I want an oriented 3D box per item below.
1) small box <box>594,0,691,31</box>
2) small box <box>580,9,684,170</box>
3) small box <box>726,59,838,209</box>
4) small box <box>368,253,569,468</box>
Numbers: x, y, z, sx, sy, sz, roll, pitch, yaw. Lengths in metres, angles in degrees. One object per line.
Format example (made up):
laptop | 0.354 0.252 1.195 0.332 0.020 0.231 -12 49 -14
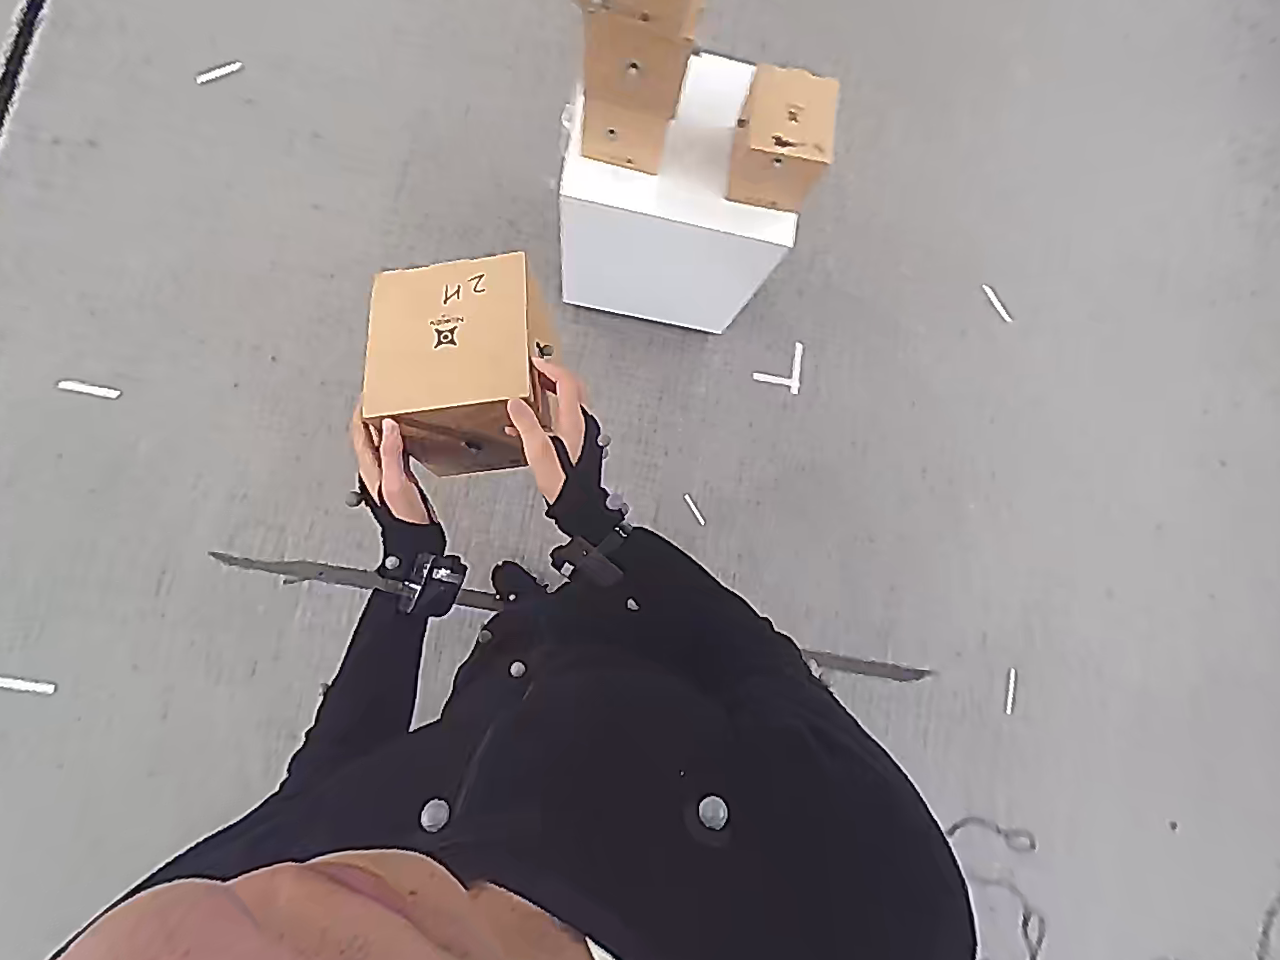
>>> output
small box | 0.012 -0.772 0.732 0.168 0.176 0.179 13 83 -6
small box | -0.022 -0.750 1.059 0.168 0.176 0.179 10 84 -7
small box | 0.278 -0.687 1.091 0.168 0.176 0.179 7 84 -5
small box | -0.178 -0.121 0.613 0.168 0.176 0.179 -6 69 2
